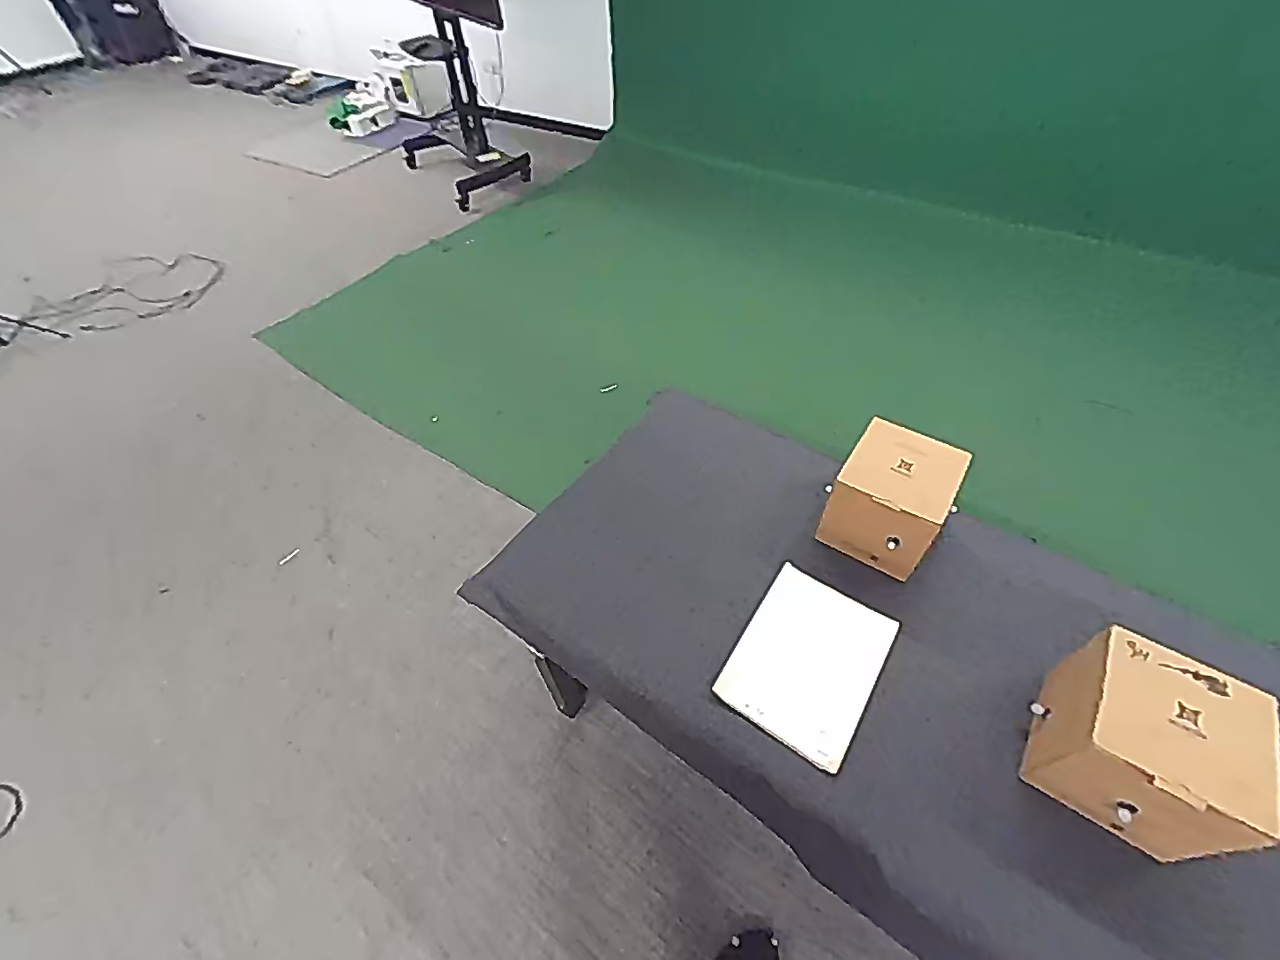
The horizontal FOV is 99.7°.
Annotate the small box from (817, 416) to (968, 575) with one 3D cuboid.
[{"bbox_3d":[0.418,0.029,0.921,0.168,0.176,0.179,27,55,22],"label":"small box"}]

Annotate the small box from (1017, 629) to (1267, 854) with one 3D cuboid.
[{"bbox_3d":[0.611,0.330,0.677,0.168,0.176,0.179,28,57,23],"label":"small box"}]
